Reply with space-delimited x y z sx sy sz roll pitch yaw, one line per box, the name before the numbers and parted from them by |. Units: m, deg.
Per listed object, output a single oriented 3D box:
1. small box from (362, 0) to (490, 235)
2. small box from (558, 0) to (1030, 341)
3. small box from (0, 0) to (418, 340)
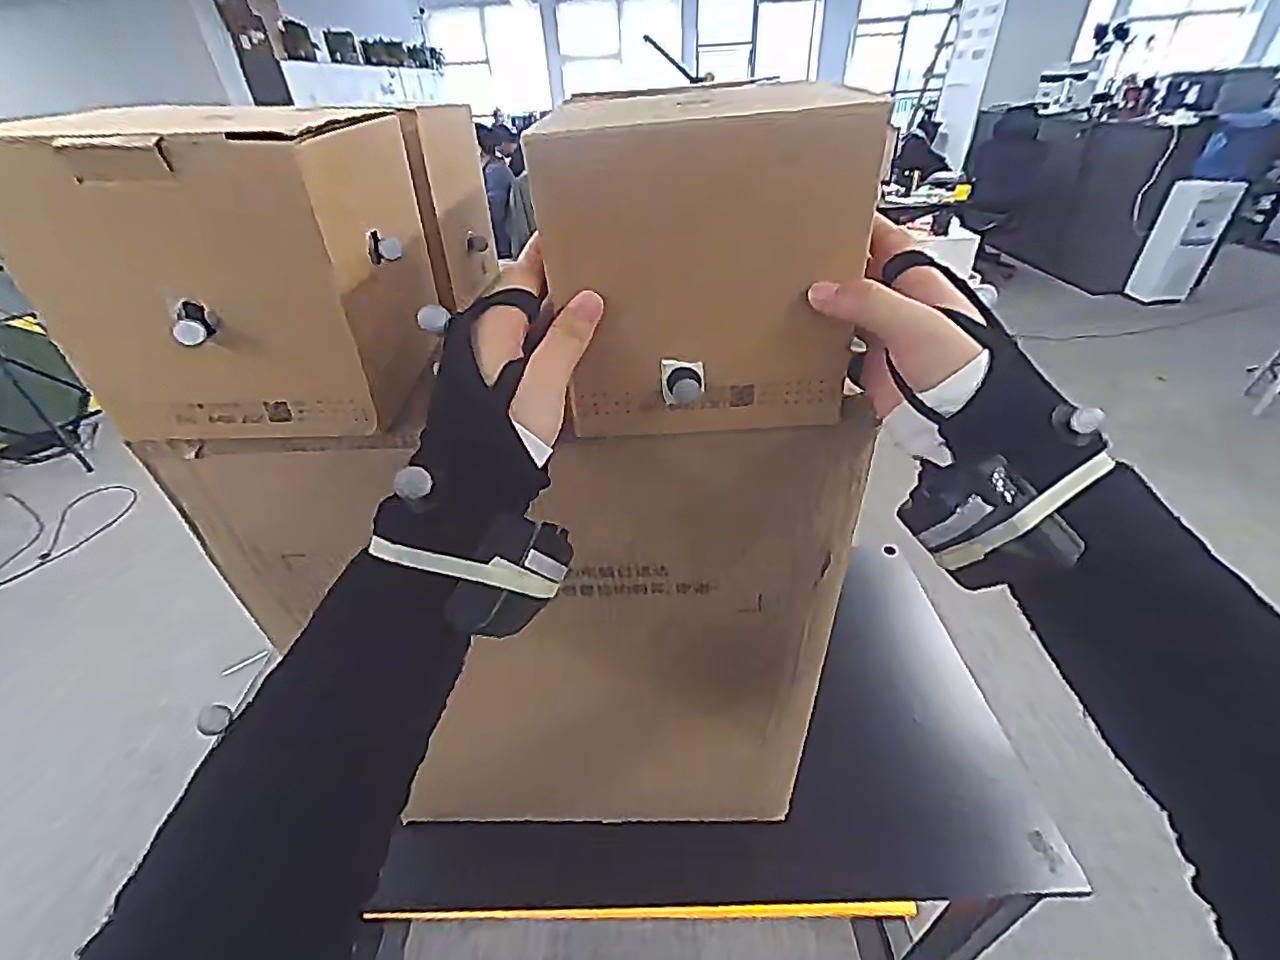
small box | -0.241 -0.303 0.447 0.179 0.176 0.168 0 36 2
small box | 0.053 -0.186 0.272 0.168 0.176 0.179 -5 40 2
small box | -0.232 -0.182 0.283 0.168 0.176 0.179 -2 39 -4
